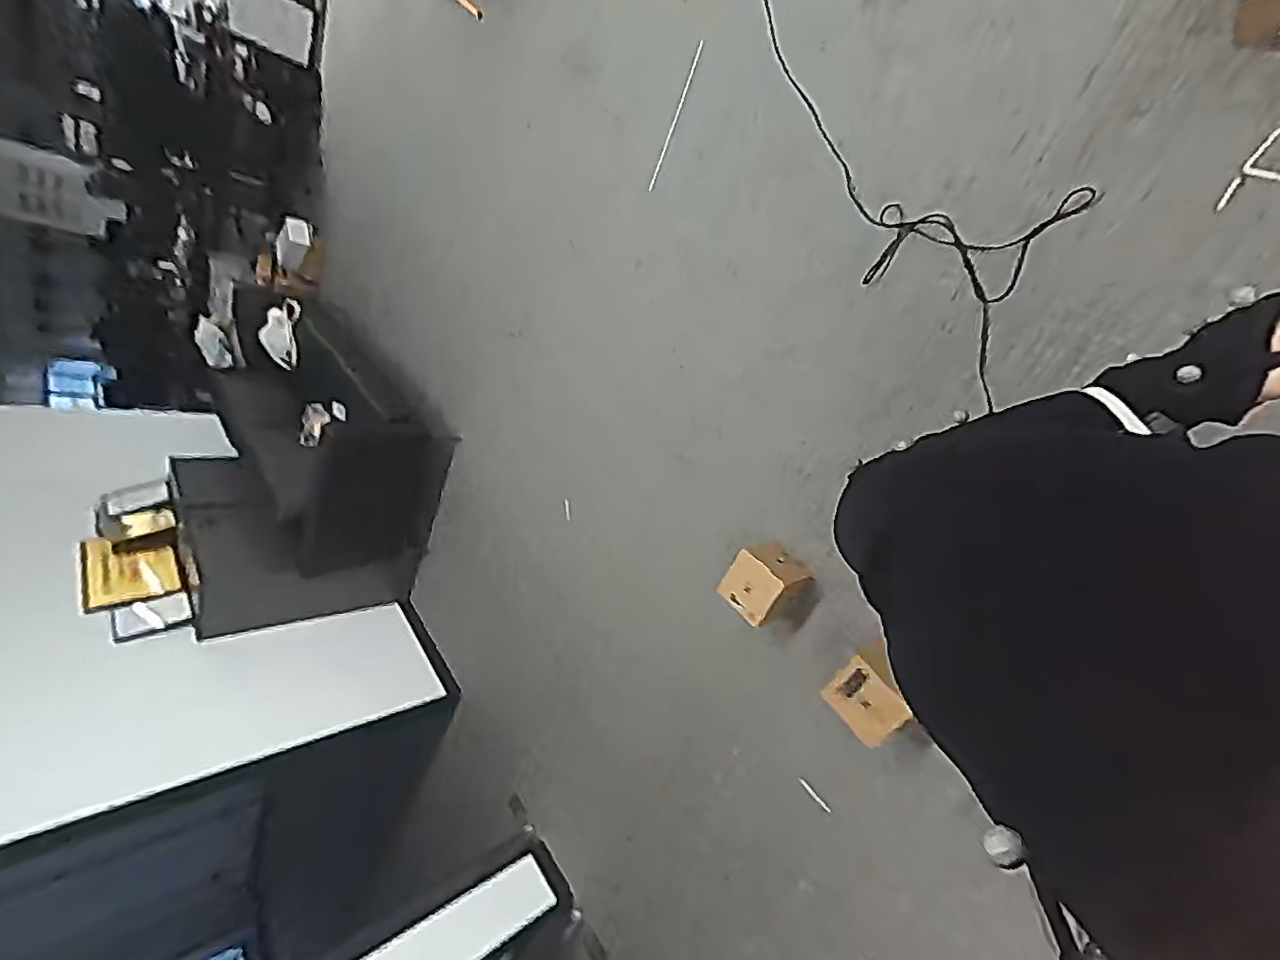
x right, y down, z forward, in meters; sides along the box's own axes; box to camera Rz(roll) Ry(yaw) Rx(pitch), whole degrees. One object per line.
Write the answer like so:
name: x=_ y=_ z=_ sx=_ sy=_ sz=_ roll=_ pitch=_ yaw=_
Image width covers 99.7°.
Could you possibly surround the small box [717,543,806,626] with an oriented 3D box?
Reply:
small box: x=0.374 y=0.307 z=1.632 sx=0.168 sy=0.176 sz=0.179 roll=45 pitch=120 yaw=34
